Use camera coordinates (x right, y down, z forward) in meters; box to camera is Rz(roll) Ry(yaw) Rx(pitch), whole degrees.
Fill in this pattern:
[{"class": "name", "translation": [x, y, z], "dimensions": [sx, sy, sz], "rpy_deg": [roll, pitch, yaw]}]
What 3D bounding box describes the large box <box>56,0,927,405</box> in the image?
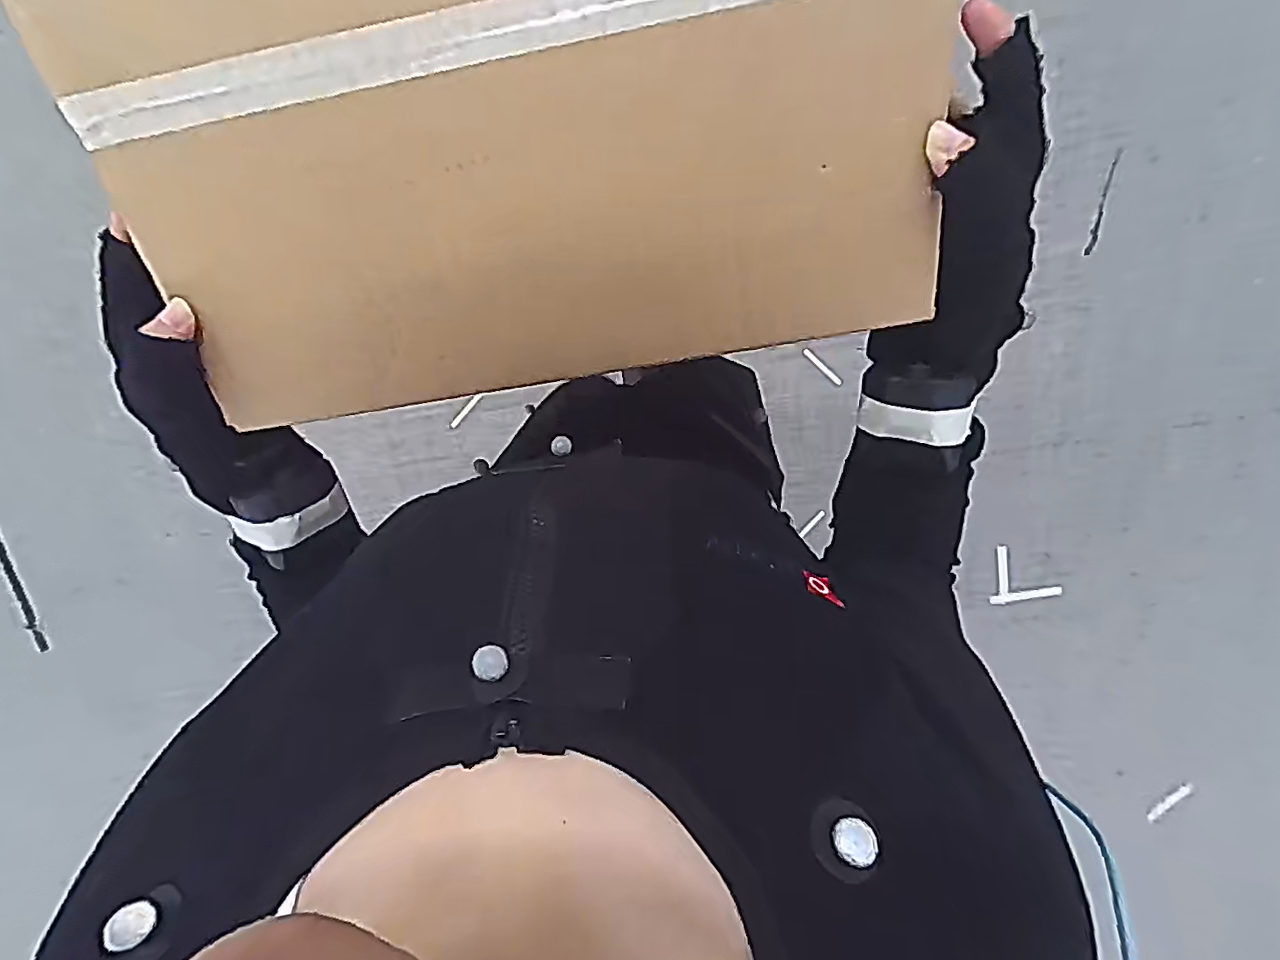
[{"class": "large box", "translation": [-0.068, -0.274, 0.386], "dimensions": [0.408, 0.320, 0.320], "rpy_deg": [-9, 115, 5]}]
